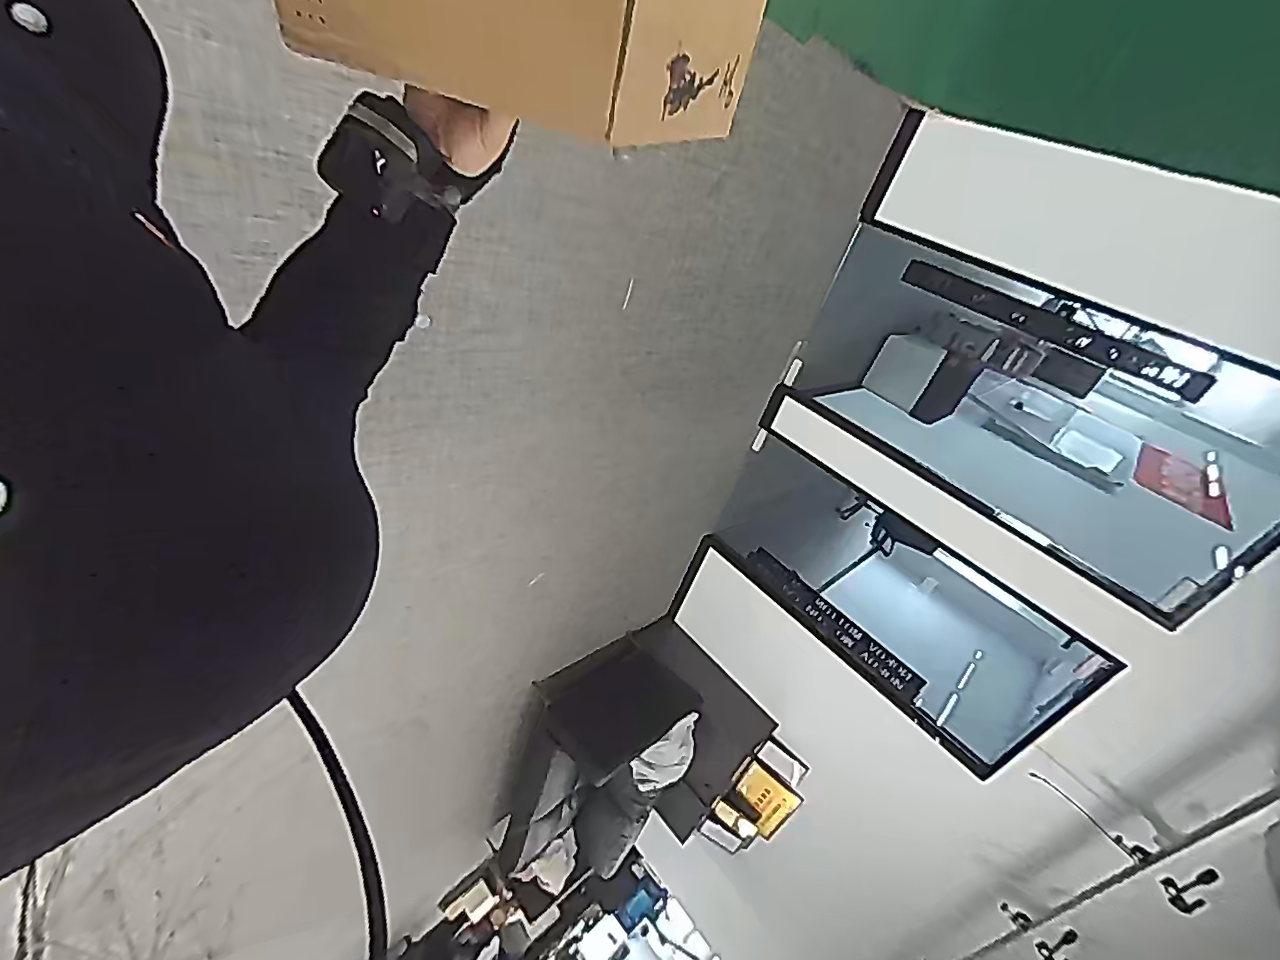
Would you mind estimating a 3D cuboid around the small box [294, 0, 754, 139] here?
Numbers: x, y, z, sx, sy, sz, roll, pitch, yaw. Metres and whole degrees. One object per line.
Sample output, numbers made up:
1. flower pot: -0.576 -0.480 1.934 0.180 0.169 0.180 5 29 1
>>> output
1. small box: -0.040 -0.272 0.239 0.168 0.176 0.179 -52 160 -49
